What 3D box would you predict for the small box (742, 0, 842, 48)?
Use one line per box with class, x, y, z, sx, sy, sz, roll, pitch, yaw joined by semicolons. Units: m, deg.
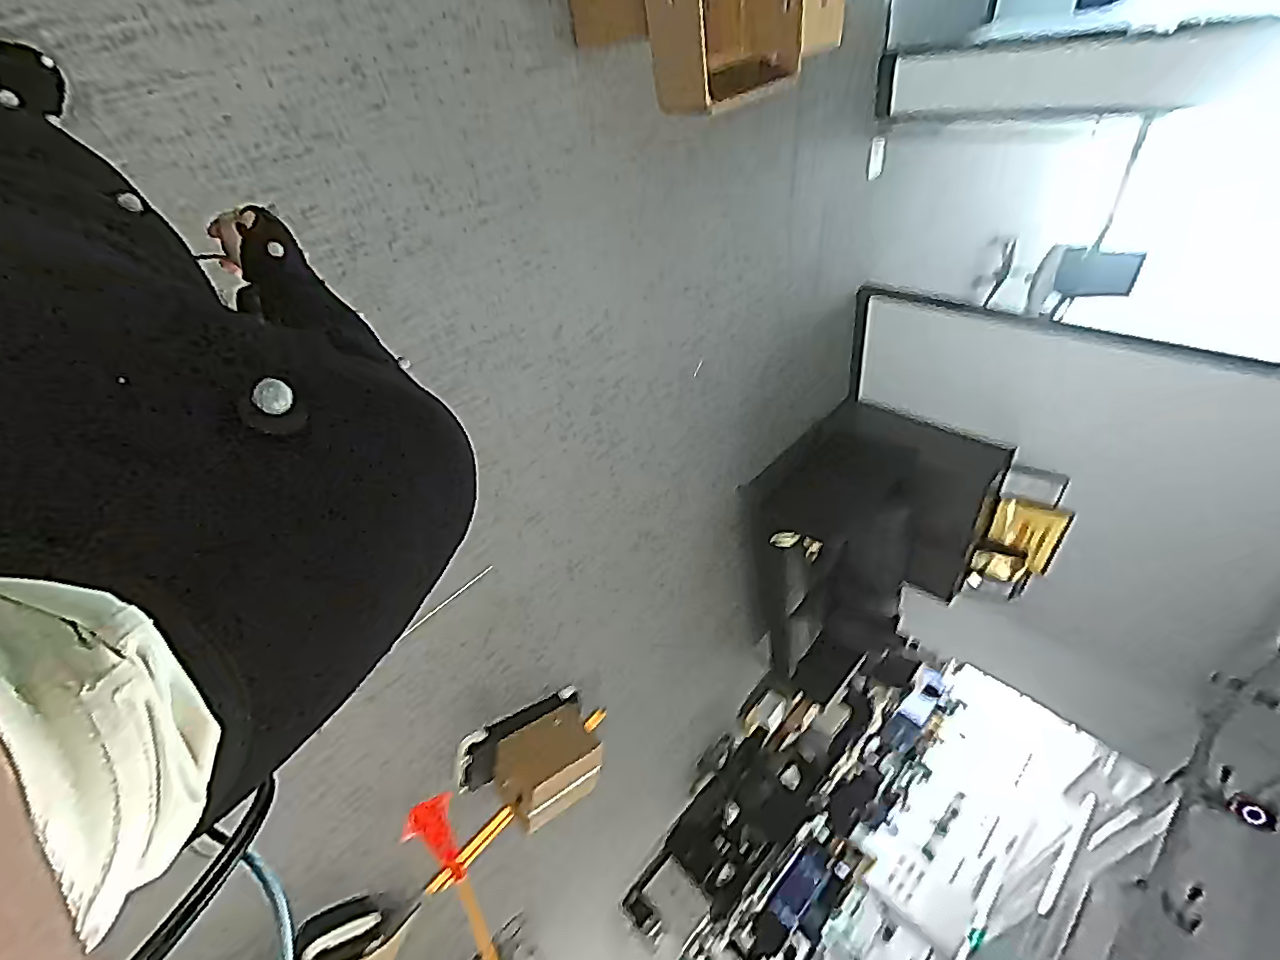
small box;0.348;-1.122;1.245;0.168;0.176;0.179;-36;138;-26
